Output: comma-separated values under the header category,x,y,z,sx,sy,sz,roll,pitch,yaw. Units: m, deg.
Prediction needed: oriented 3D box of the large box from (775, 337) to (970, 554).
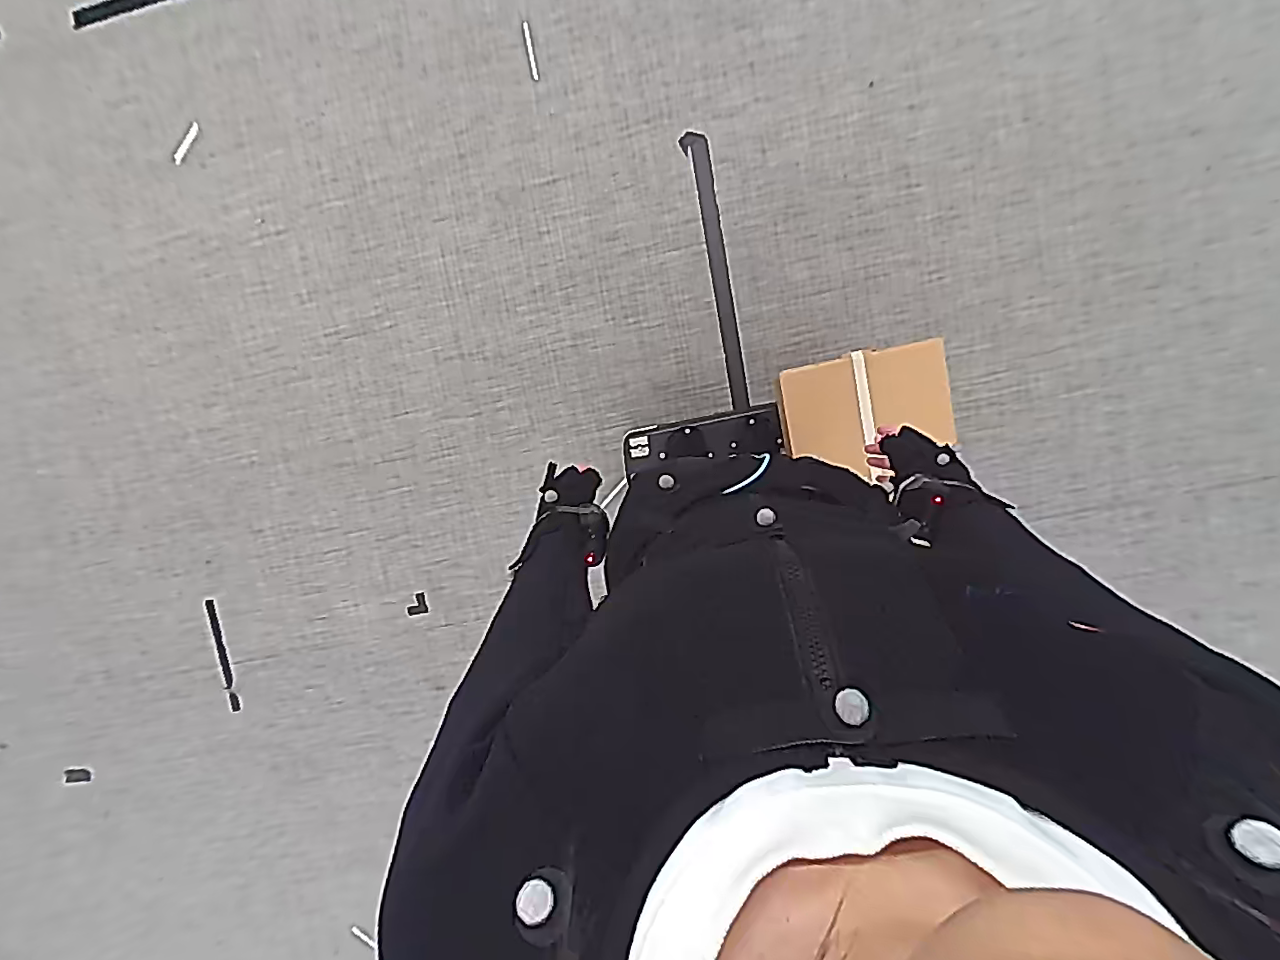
category,x,y,z,sx,sy,sz,roll,pitch,yaw
large box,0.508,-0.084,1.246,0.320,0.320,0.408,-10,98,14
